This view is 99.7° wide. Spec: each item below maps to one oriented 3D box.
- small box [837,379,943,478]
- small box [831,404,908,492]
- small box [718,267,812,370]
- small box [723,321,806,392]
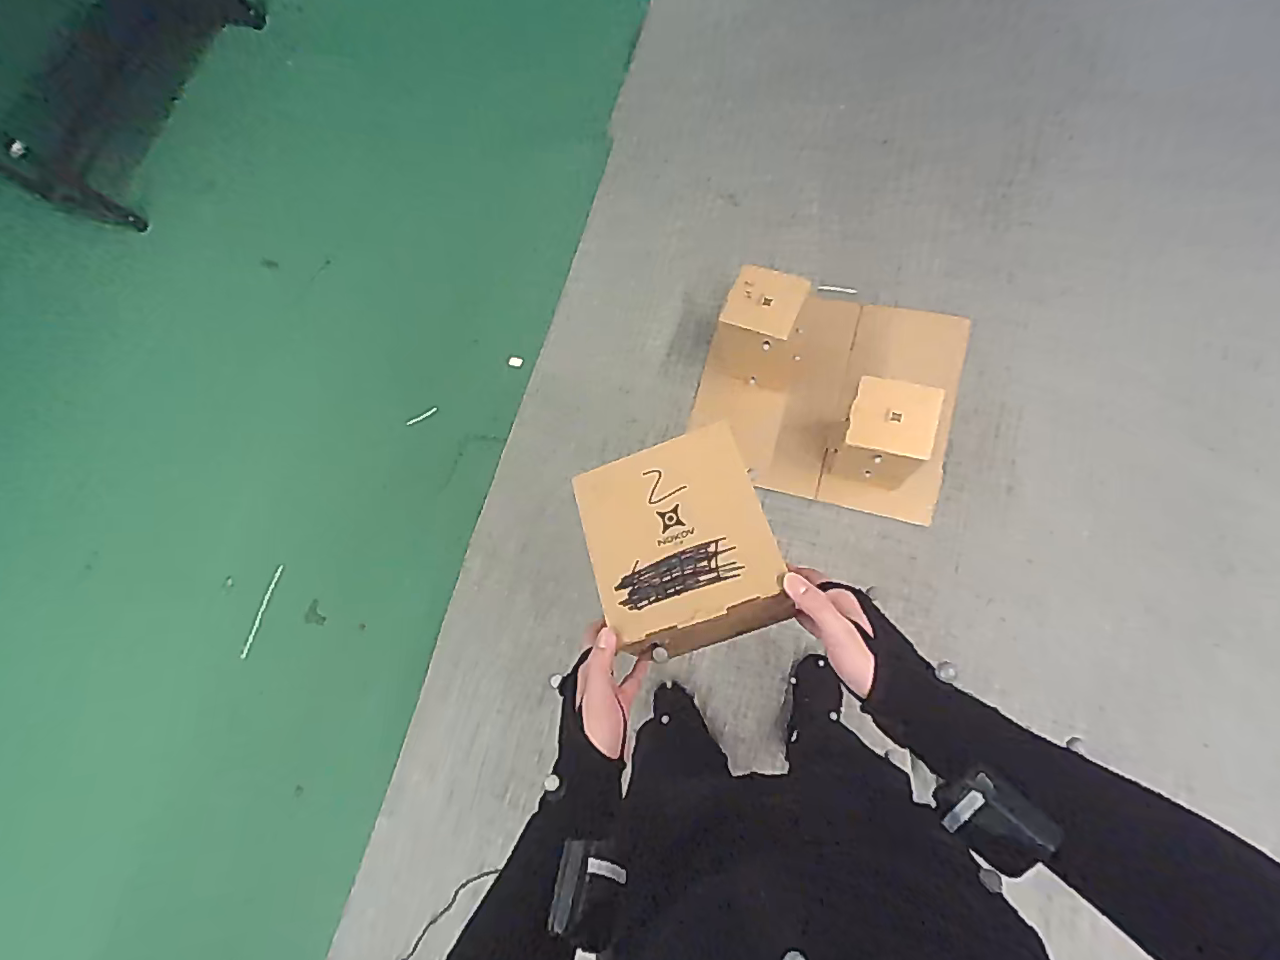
[{"bbox_3d":[0.567,-0.111,1.246,0.179,0.176,0.168,14,80,17],"label":"small box"},{"bbox_3d":[0.604,-0.079,1.400,0.179,0.176,0.168,15,80,16],"label":"small box"},{"bbox_3d":[0.316,-0.401,1.370,0.179,0.176,0.168,22,81,17],"label":"small box"},{"bbox_3d":[0.350,-0.368,1.530,0.179,0.176,0.168,23,82,17],"label":"small box"}]
